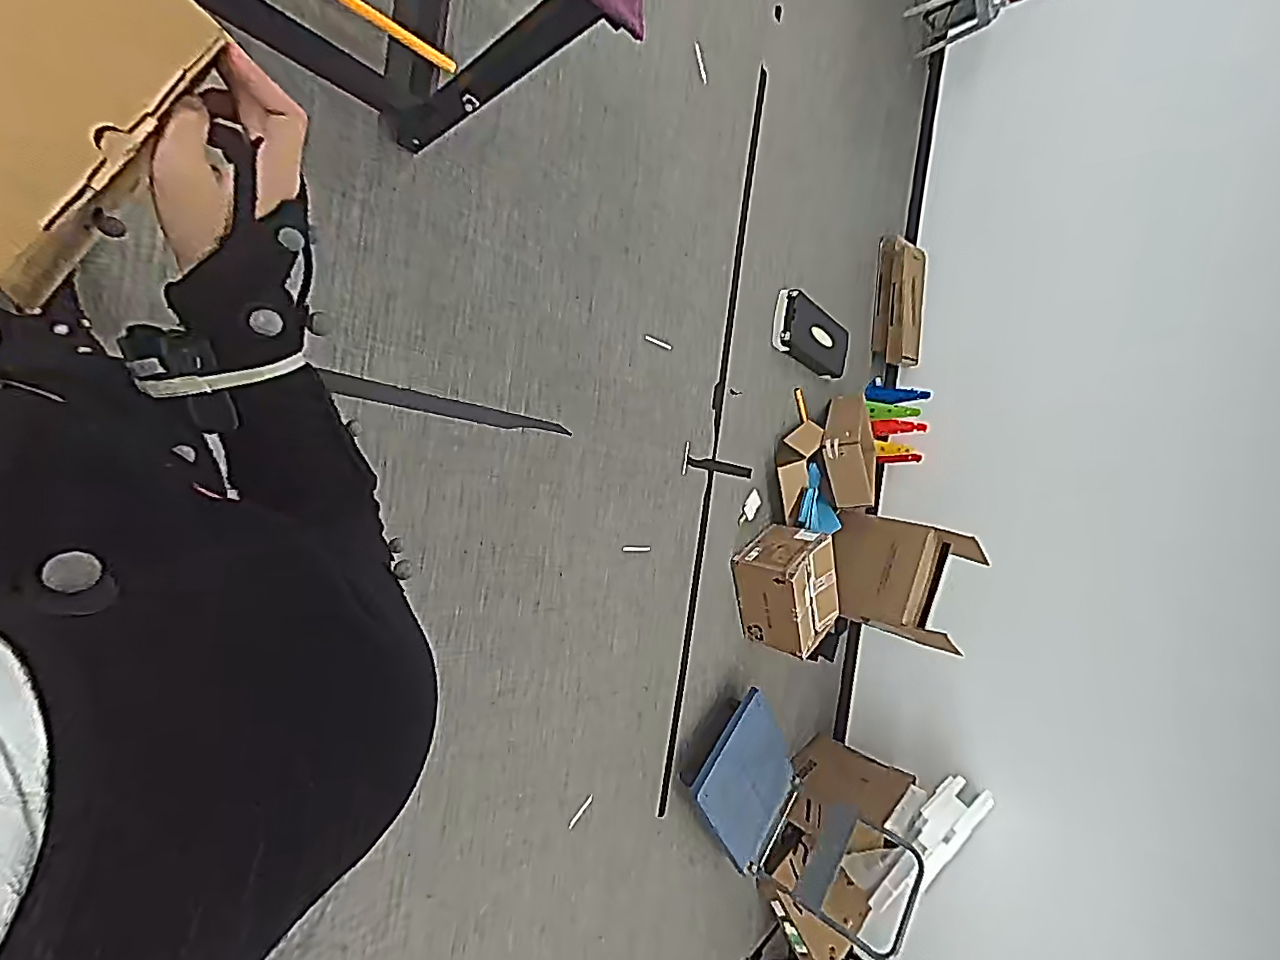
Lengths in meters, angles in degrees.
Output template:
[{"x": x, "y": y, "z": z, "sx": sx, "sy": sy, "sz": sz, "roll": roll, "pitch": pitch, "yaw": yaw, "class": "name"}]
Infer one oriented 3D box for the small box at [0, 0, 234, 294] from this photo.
[{"x": -0.349, "y": -0.207, "z": 0.253, "sx": 0.179, "sy": 0.176, "sz": 0.168, "roll": 40, "pitch": 69, "yaw": -45, "class": "small box"}]
